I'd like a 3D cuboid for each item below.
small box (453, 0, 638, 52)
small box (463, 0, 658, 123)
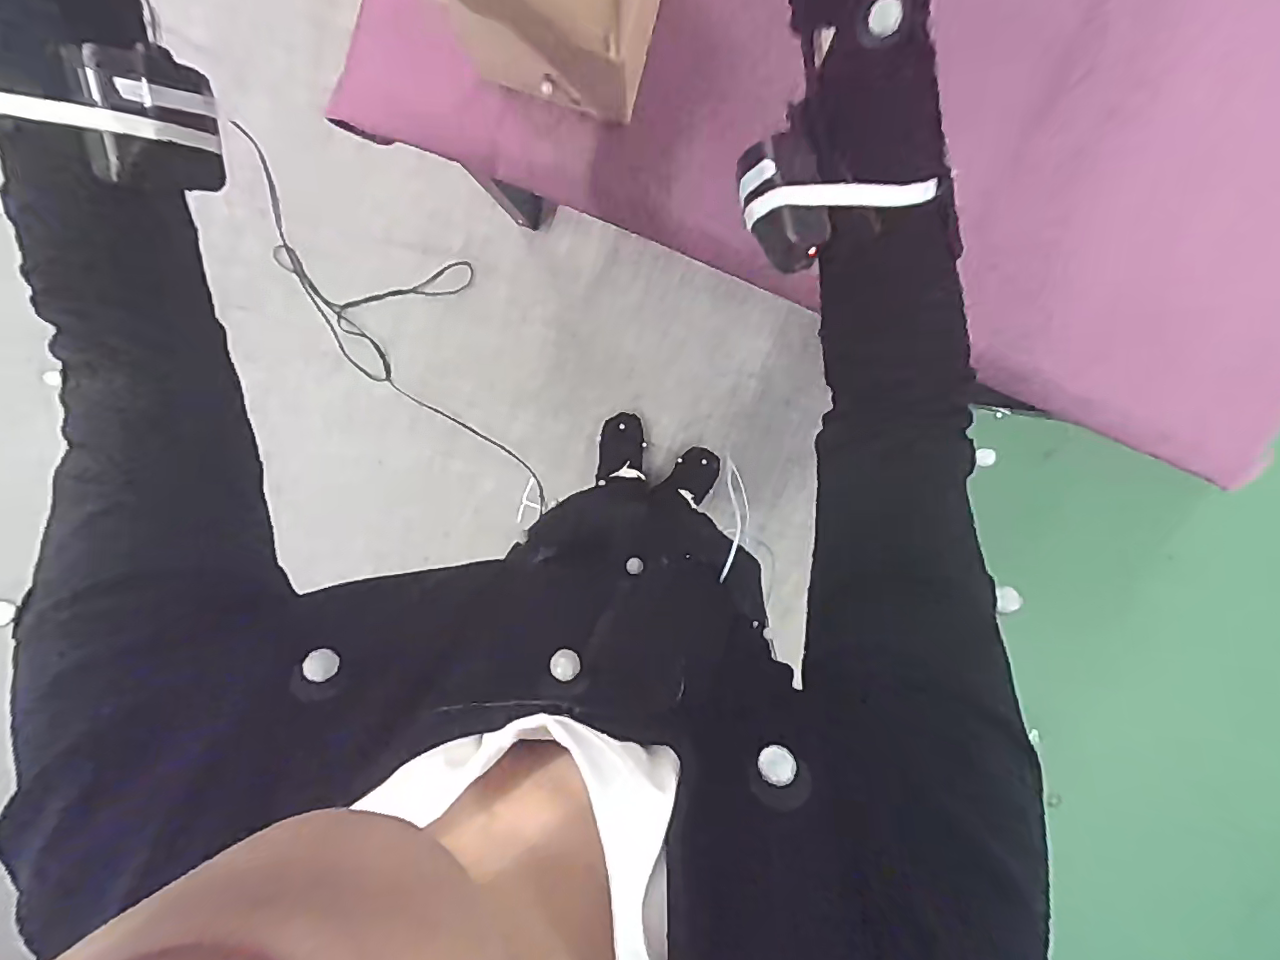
[{"bbox_3d":[-0.069,-0.443,0.369,0.179,0.176,0.168,17,102,-4],"label":"small box"},{"bbox_3d":[-0.070,-0.496,0.524,0.168,0.176,0.179,16,102,-5],"label":"small box"}]
